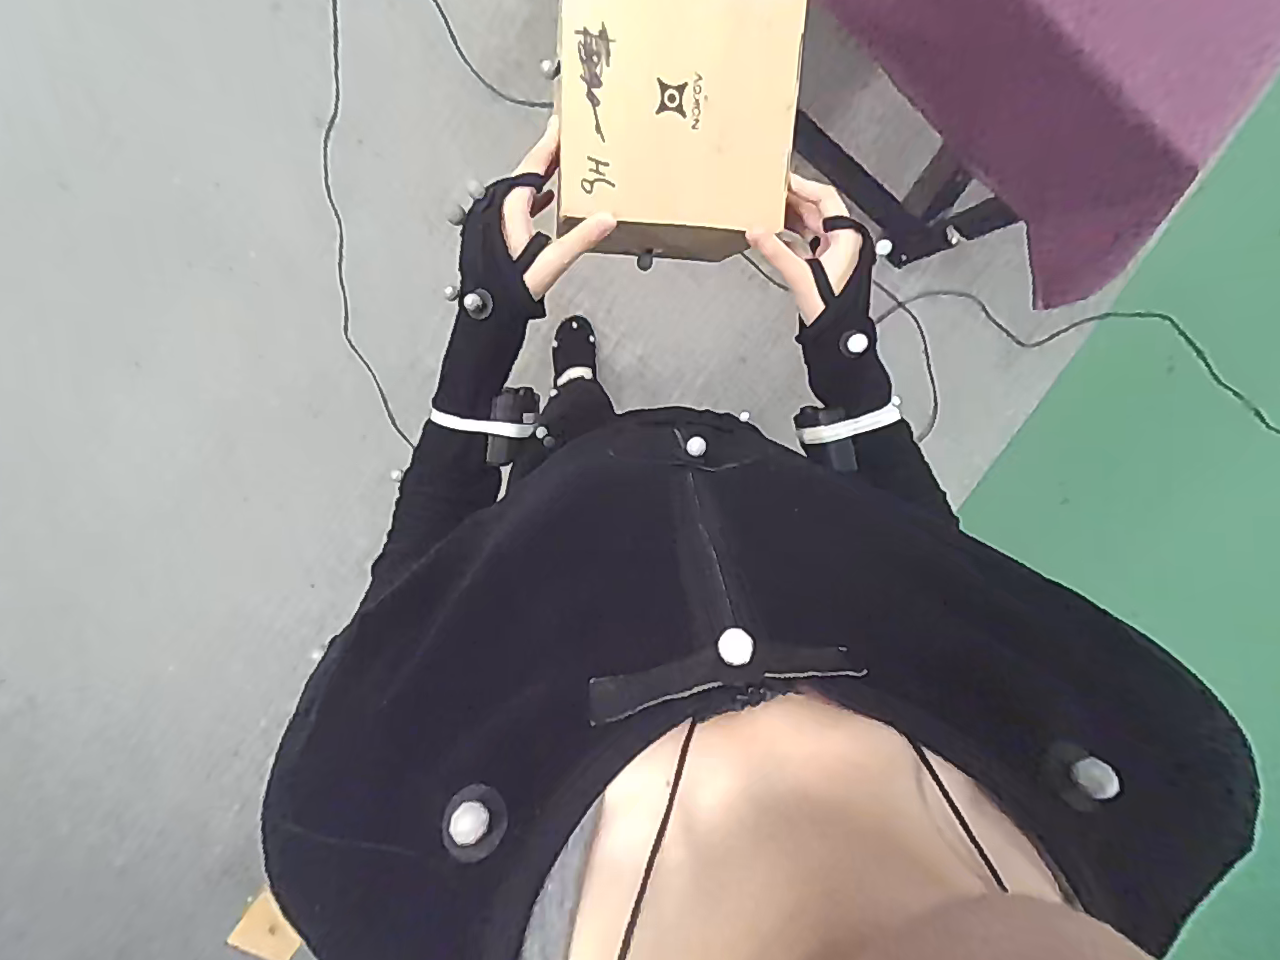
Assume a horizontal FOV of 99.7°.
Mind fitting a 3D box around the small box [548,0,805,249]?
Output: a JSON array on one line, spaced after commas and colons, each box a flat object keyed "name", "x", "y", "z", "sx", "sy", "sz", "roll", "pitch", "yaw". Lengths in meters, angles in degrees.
[{"name": "small box", "x": 0.014, "y": -0.300, "z": 0.460, "sx": 0.179, "sy": 0.176, "sz": 0.168, "roll": 0, "pitch": 104, "yaw": -11}]

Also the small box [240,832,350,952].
[{"name": "small box", "x": -0.953, "y": 1.147, "z": 1.515, "sx": 0.168, "sy": 0.176, "sz": 0.179, "roll": 36, "pitch": 94, "yaw": -11}]
